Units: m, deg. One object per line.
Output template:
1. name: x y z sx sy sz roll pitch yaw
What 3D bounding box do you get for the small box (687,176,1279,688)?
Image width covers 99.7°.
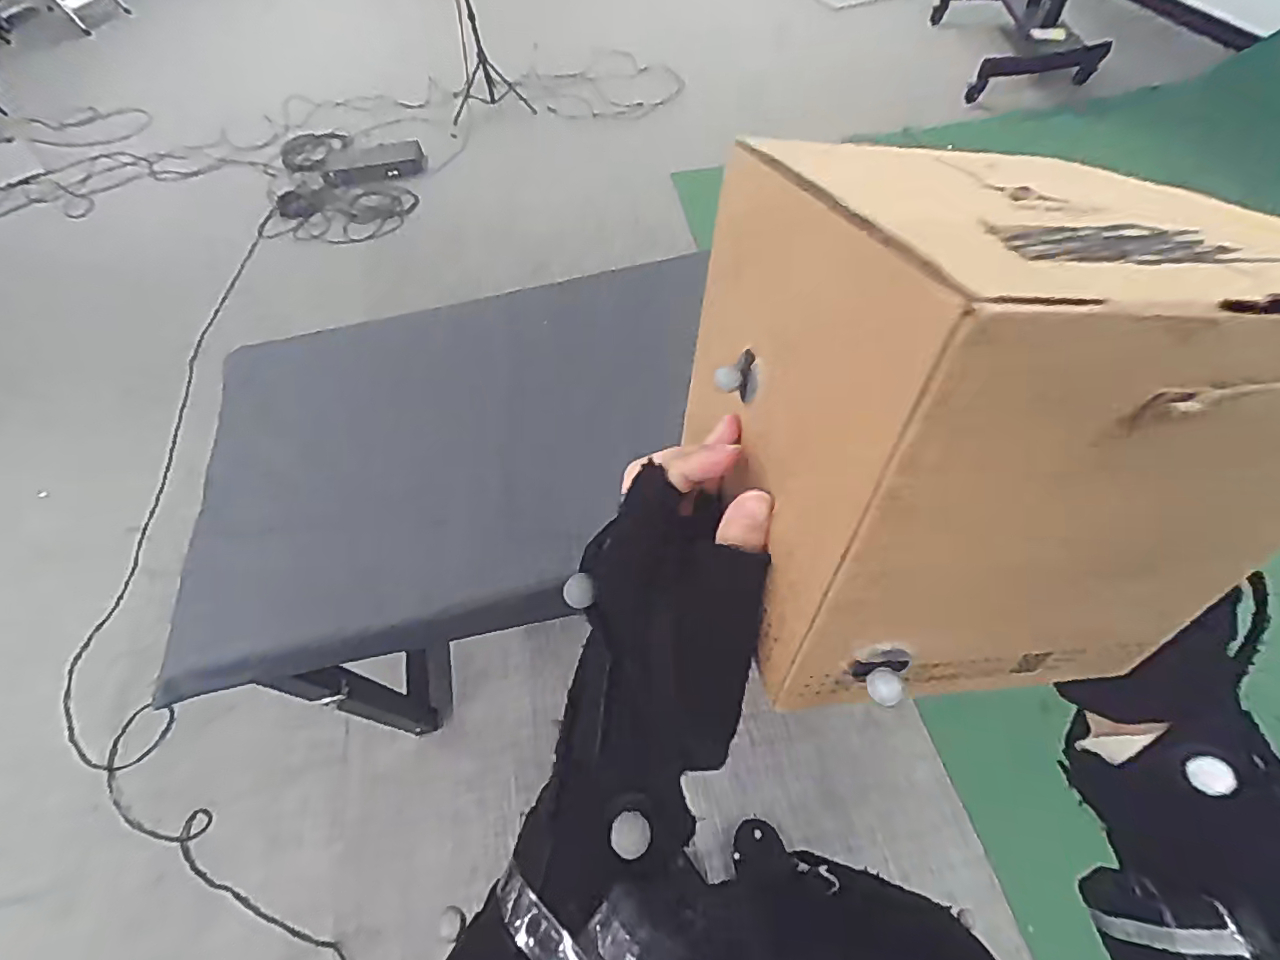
1. small box: 0.124 -0.022 0.246 0.168 0.176 0.179 -1 40 -9
